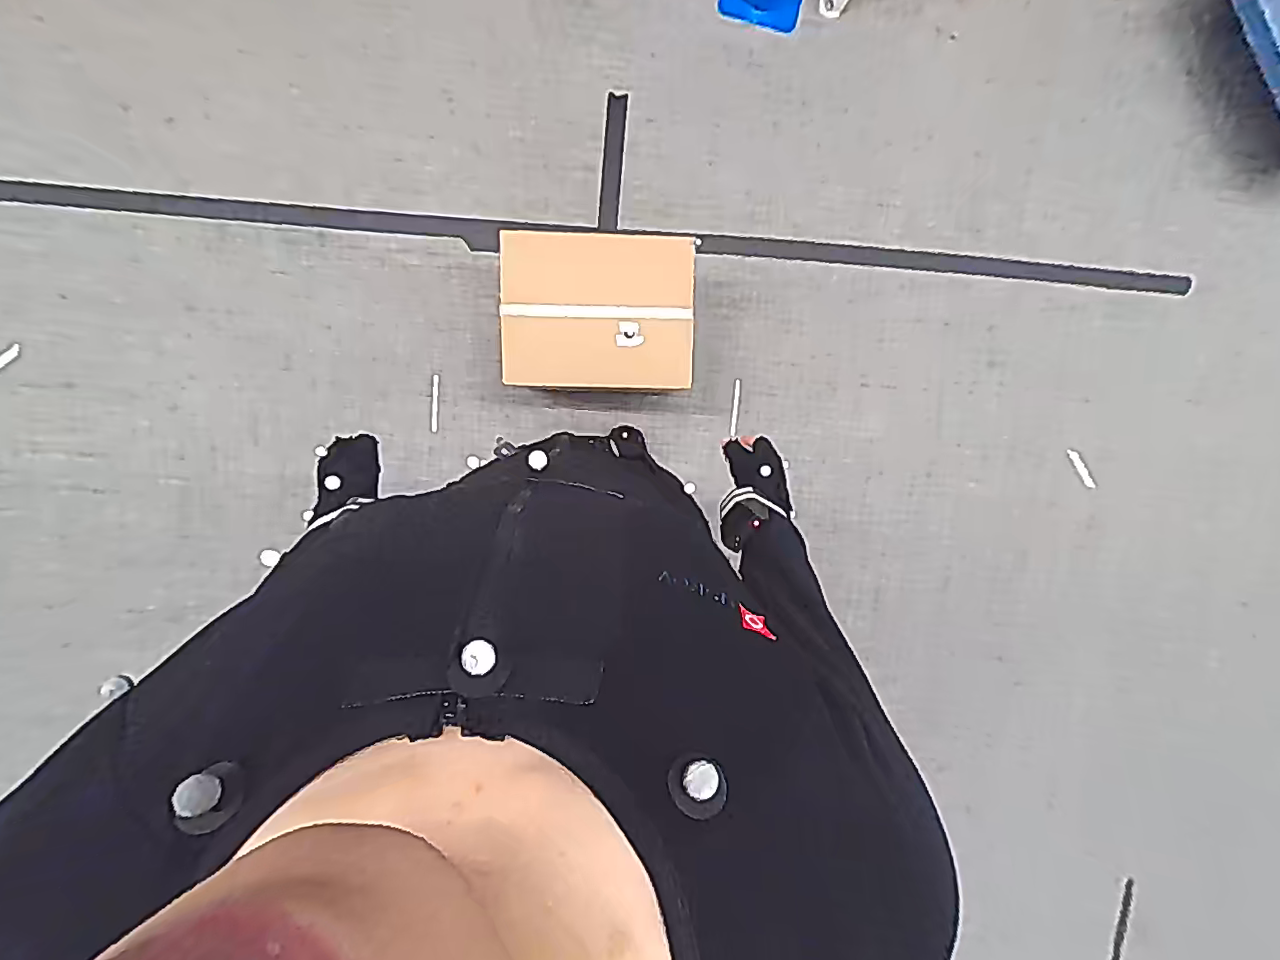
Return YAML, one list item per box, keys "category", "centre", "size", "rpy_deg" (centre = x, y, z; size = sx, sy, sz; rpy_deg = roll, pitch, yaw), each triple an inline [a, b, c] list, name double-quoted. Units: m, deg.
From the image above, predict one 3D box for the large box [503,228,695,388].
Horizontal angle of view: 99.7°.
- category: "large box"
  centre: [-0.095, -0.381, 1.280]
  size: [0.408, 0.320, 0.320]
  rpy_deg: [0, 98, -4]
